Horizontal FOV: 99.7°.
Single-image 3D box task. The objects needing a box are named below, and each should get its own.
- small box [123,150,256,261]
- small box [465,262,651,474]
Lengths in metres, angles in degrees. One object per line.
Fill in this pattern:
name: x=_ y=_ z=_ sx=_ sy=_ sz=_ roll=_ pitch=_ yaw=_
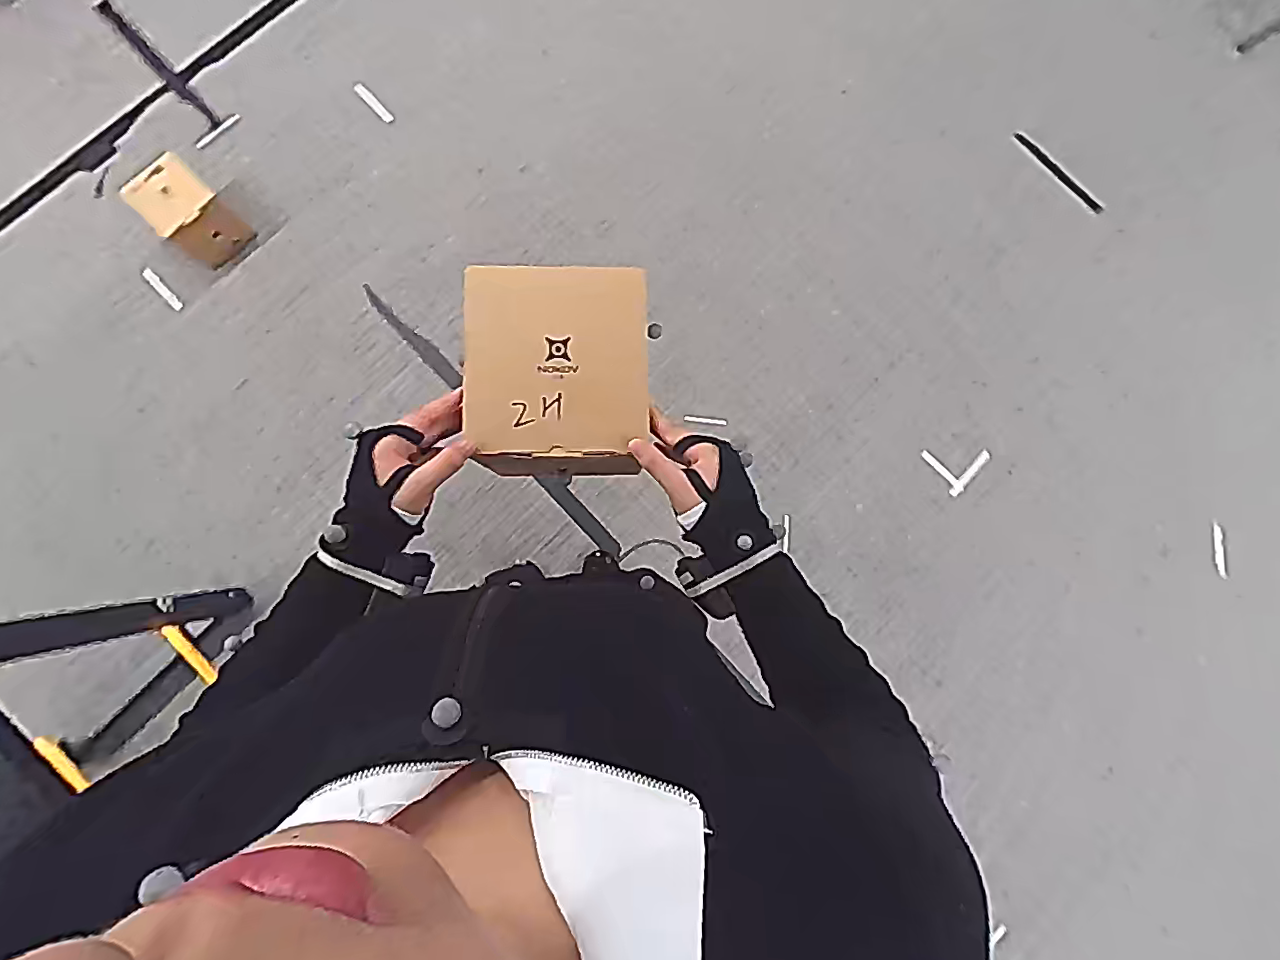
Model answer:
small box: x=-1.187 y=-0.718 z=1.443 sx=0.179 sy=0.176 sz=0.168 roll=45 pitch=84 yaw=1
small box: x=-0.078 y=-0.103 z=0.564 sx=0.168 sy=0.176 sz=0.179 roll=-1 pitch=84 yaw=-4
